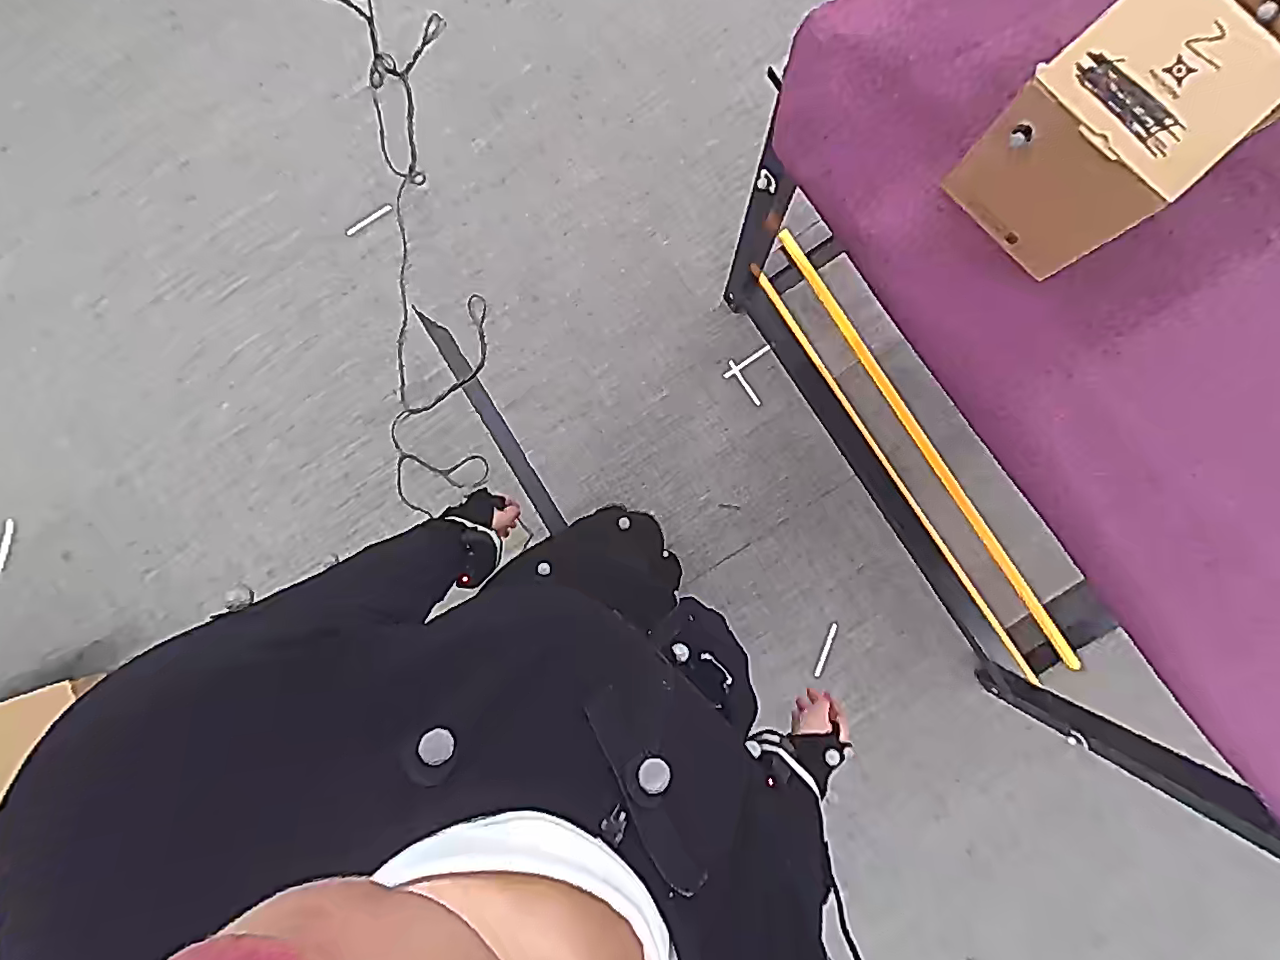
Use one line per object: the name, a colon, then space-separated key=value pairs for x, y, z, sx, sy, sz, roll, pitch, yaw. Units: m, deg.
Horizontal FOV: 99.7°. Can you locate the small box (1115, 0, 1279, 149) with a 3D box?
small box: x=0.675 y=-0.490 z=0.565 sx=0.168 sy=0.176 sz=0.179 roll=-36 pitch=87 yaw=0
